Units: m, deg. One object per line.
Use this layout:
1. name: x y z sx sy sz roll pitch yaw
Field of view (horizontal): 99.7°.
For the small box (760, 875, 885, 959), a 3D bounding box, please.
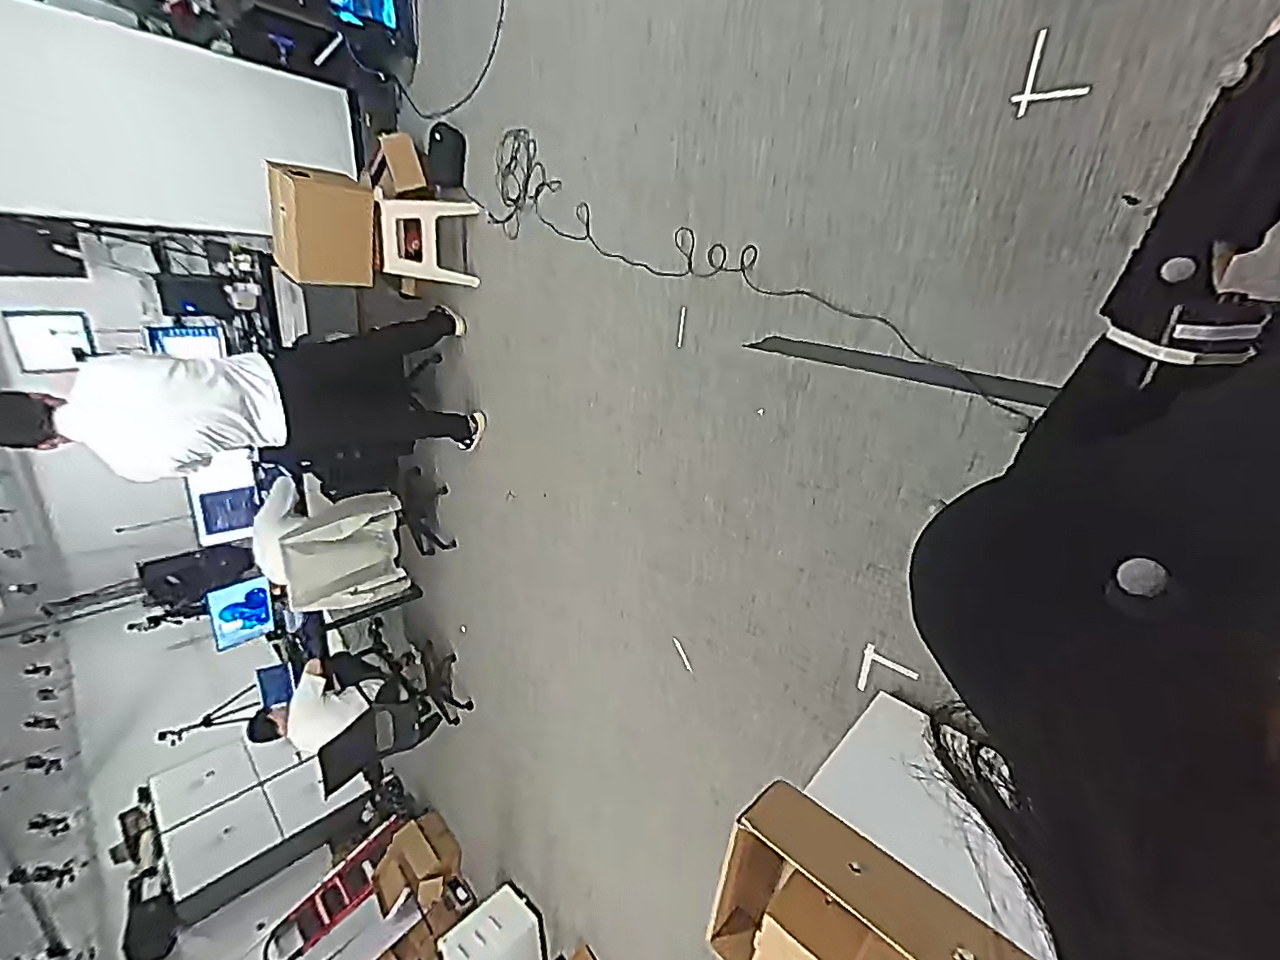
1. small box: 0.377 0.976 1.124 0.179 0.176 0.168 22 112 38
